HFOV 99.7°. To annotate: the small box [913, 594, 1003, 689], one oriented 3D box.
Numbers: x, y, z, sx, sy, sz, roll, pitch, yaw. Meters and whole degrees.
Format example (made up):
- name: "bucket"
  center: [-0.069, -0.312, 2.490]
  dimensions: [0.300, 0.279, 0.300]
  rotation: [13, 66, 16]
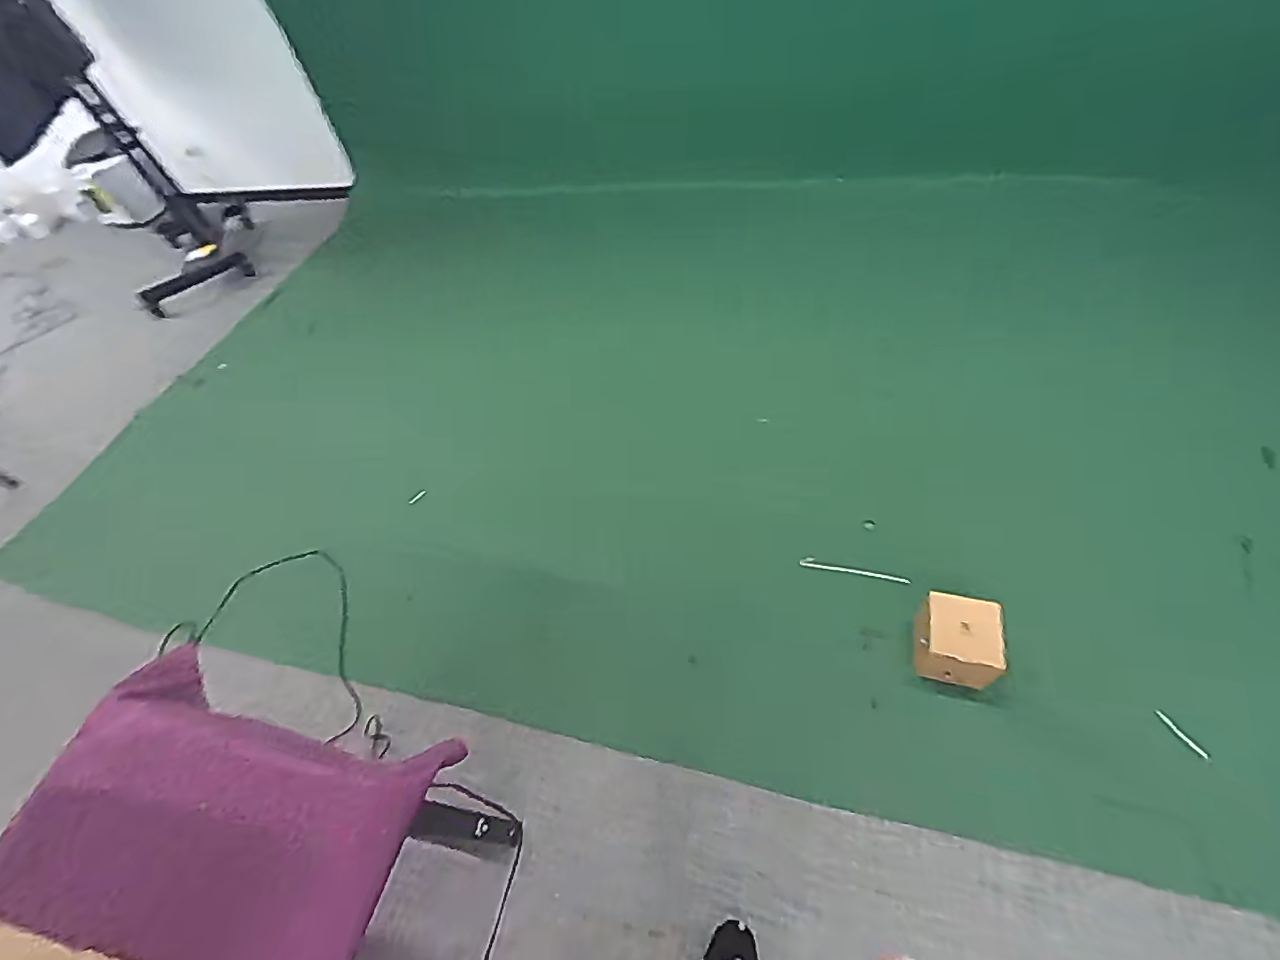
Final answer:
- name: "small box"
  center: [0.835, 0.430, 1.438]
  dimensions: [0.168, 0.176, 0.179]
  rotation: [8, 56, 15]
